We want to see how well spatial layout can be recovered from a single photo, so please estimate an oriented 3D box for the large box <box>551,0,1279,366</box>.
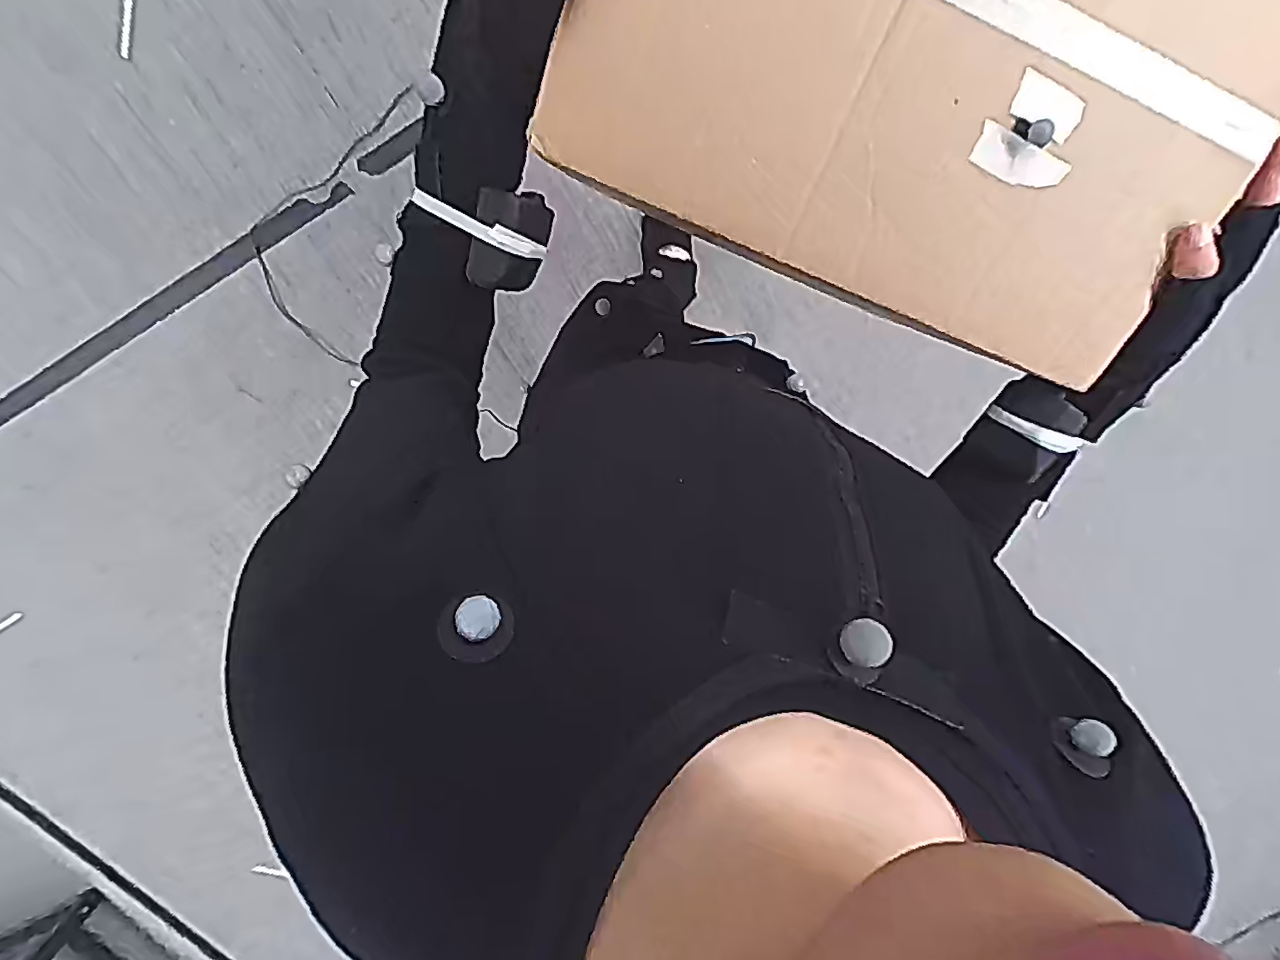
[{"bbox_3d":[0.178,-0.335,0.435,0.408,0.320,0.320,19,115,-10],"label":"large box"}]
